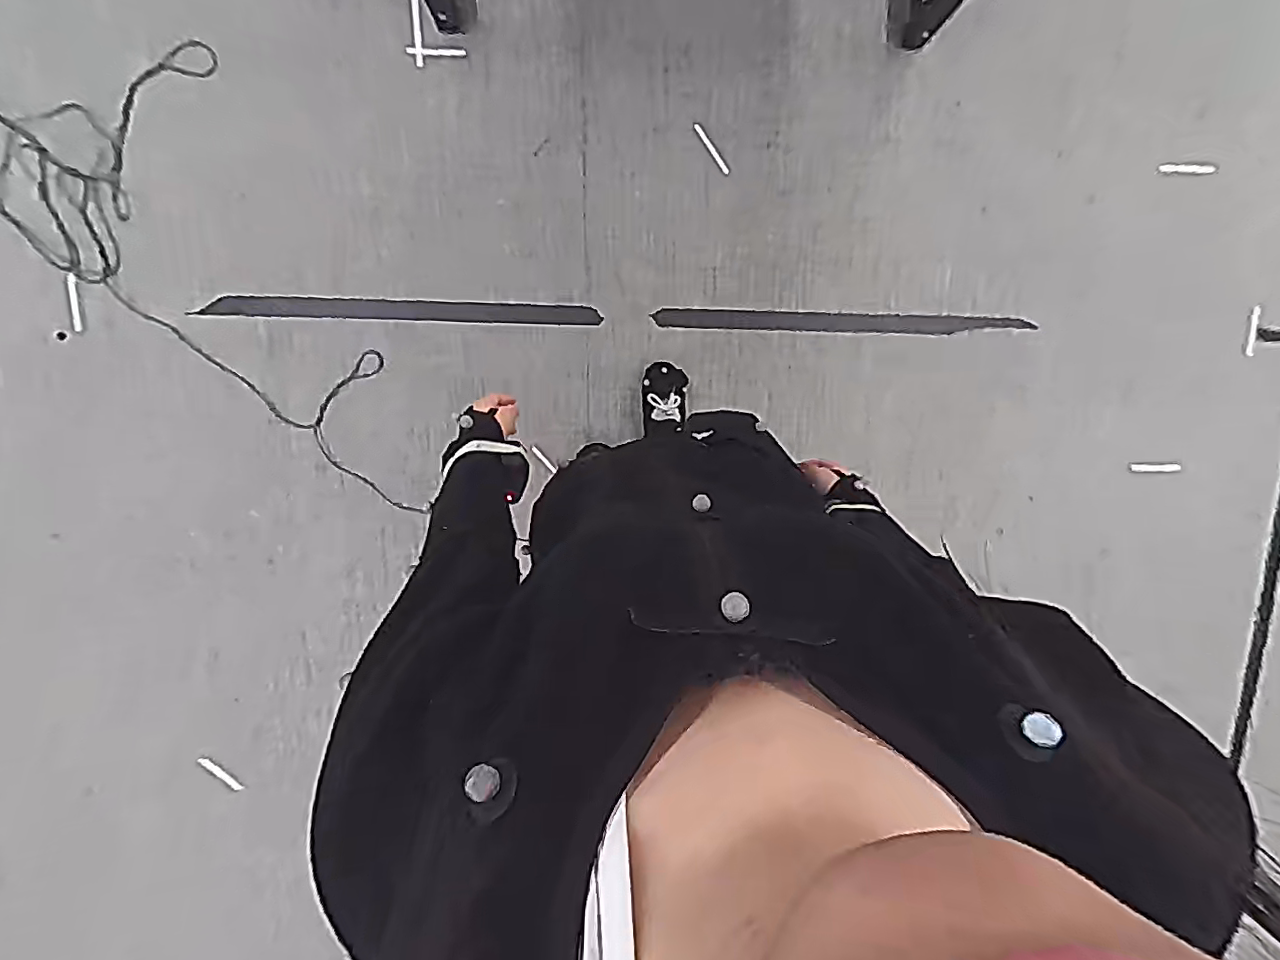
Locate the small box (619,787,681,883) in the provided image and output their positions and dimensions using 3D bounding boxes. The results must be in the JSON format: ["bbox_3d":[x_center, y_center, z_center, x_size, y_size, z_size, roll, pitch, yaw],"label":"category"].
[{"bbox_3d":[0.024,1.021,1.565,0.168,0.176,0.179,2,100,-2],"label":"small box"}]
